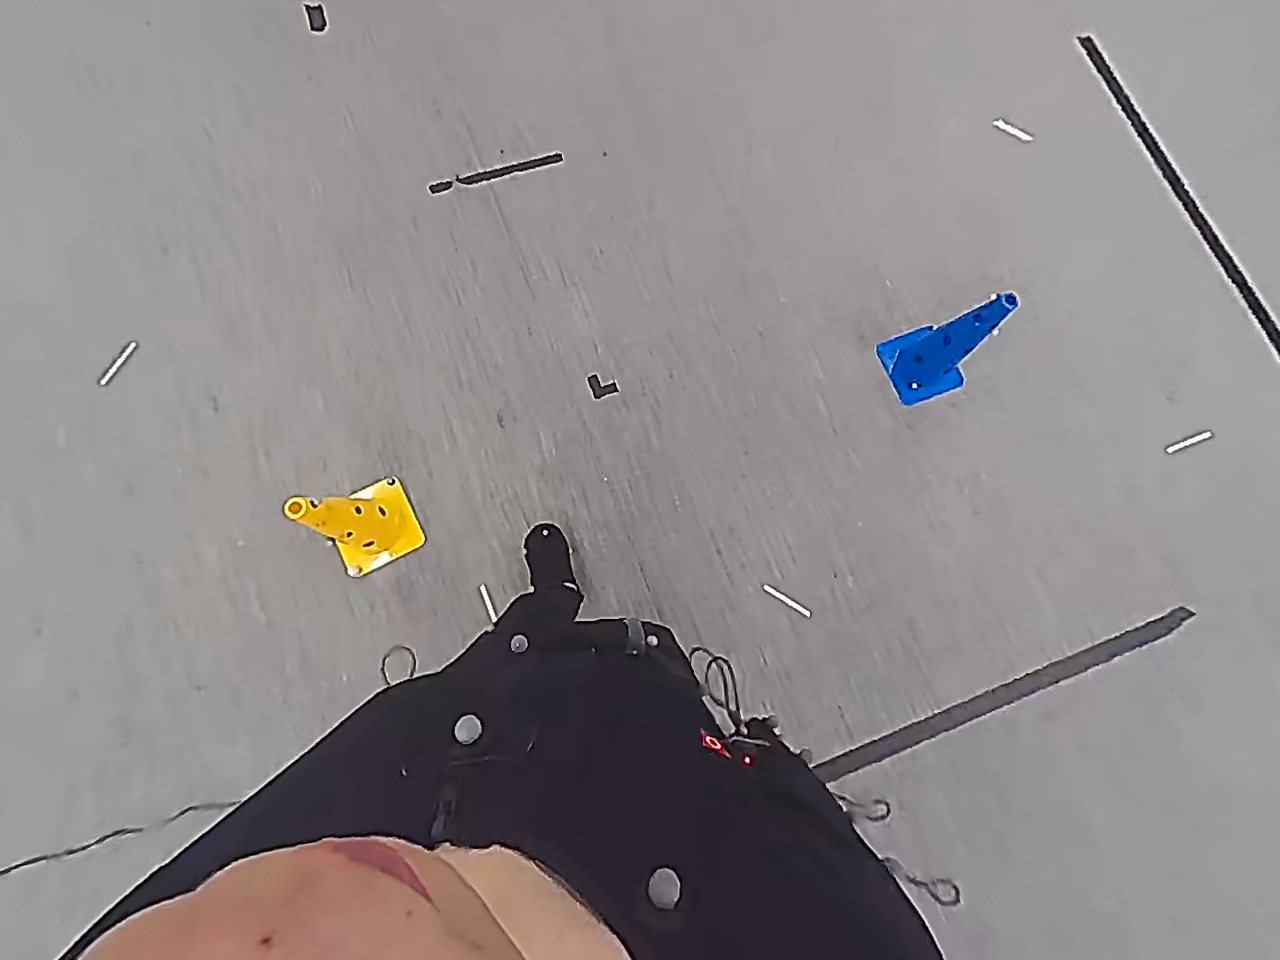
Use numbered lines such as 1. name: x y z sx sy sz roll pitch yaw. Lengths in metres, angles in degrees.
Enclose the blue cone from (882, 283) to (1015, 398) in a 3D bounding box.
1. blue cone: 0.801 -0.367 1.360 0.193 0.380 0.192 -19 80 -7
